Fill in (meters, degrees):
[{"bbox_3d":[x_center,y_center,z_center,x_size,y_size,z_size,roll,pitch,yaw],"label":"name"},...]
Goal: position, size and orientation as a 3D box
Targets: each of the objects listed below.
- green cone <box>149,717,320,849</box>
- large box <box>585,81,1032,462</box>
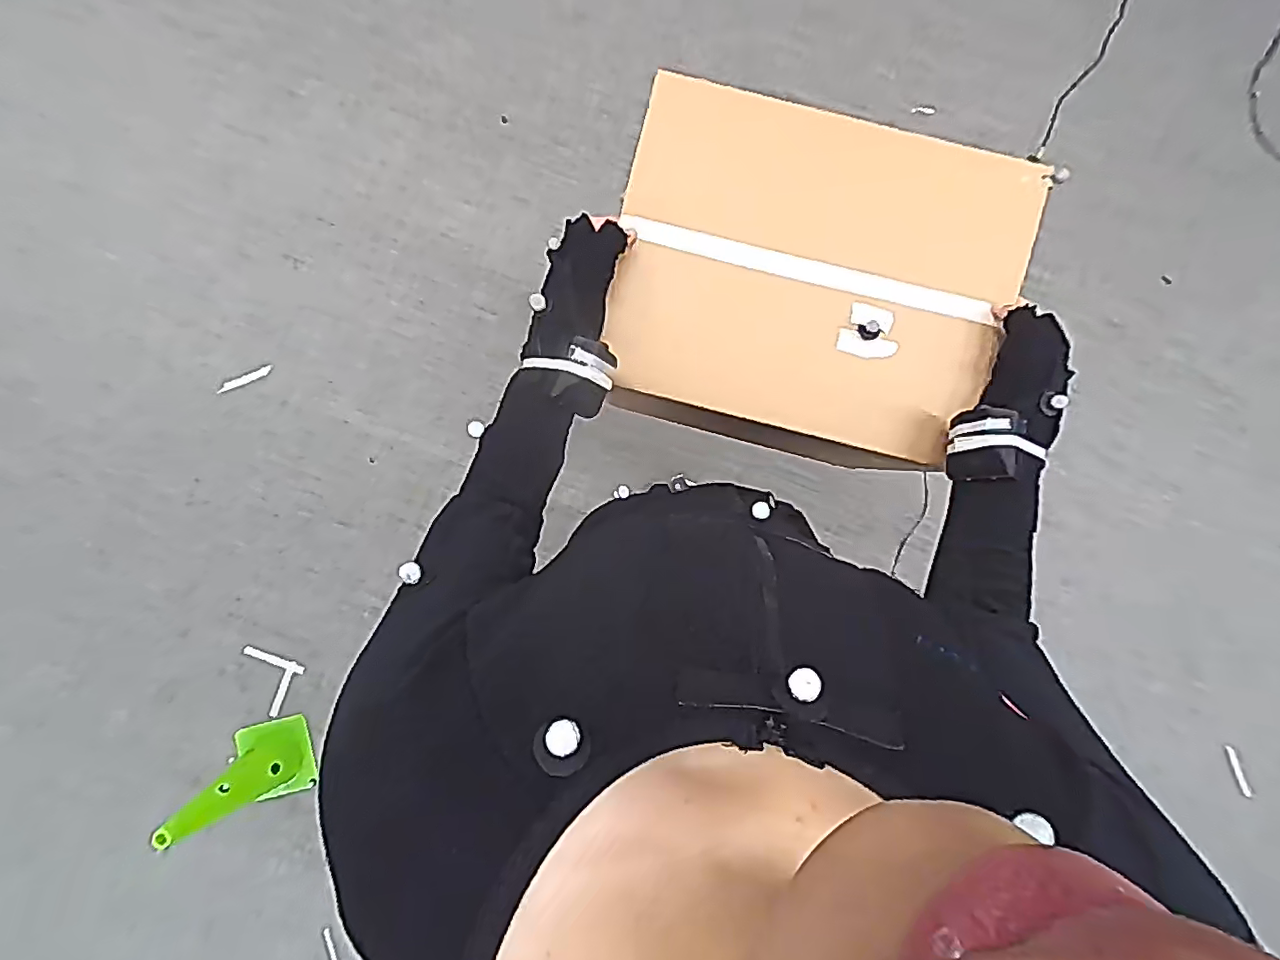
[{"bbox_3d":[-0.993,0.752,1.306,0.202,0.368,0.200,-16,87,2],"label":"green cone"},{"bbox_3d":[0.169,-0.216,0.696,0.408,0.320,0.320,14,92,0],"label":"large box"}]
